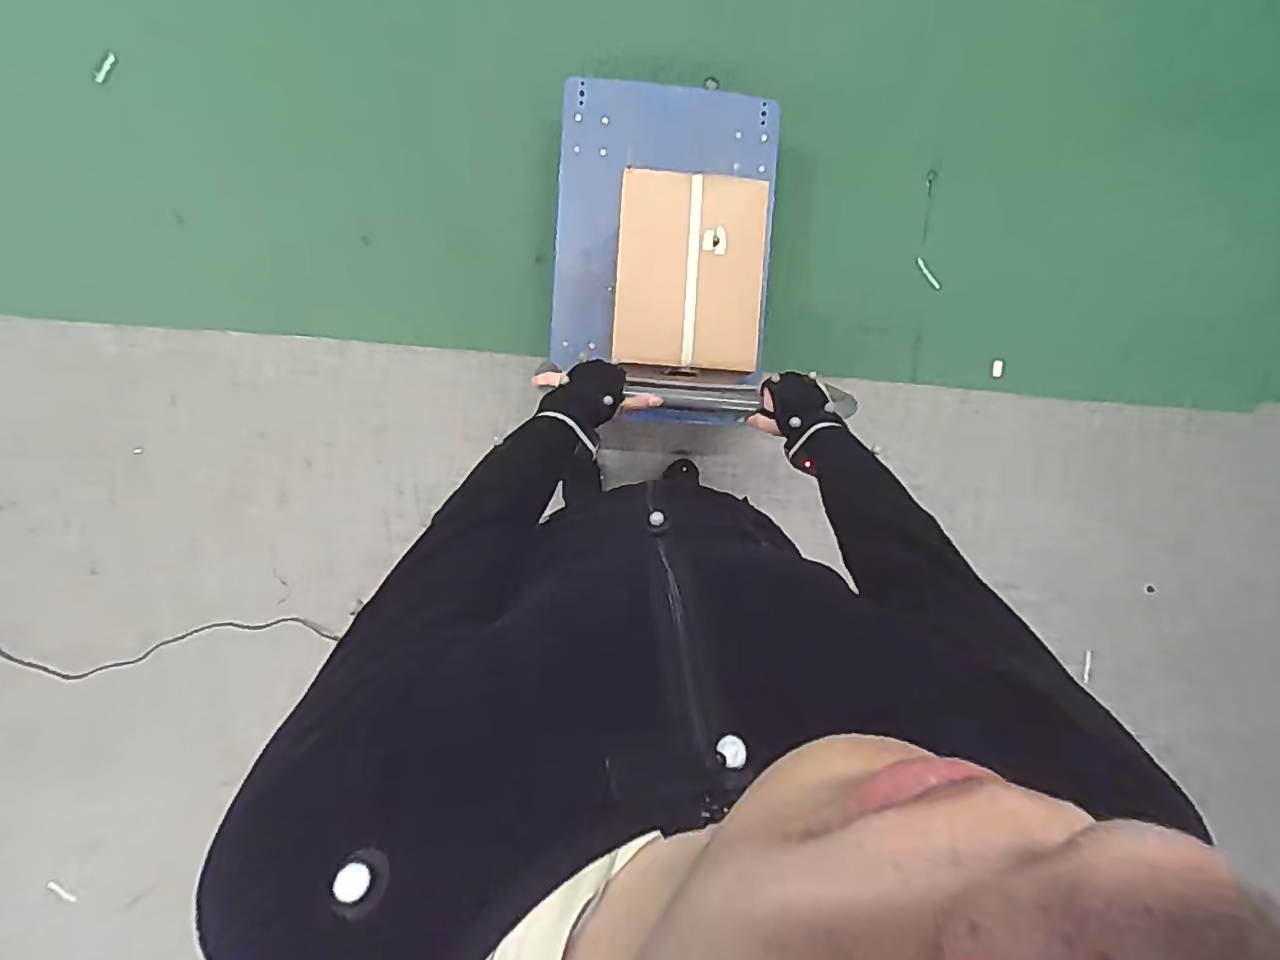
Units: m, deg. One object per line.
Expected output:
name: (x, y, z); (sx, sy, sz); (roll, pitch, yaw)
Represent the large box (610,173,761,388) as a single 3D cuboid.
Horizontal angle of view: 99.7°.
large box: (0.089, -0.442, 1.294); (0.320, 0.320, 0.408); (3, 91, -5)
